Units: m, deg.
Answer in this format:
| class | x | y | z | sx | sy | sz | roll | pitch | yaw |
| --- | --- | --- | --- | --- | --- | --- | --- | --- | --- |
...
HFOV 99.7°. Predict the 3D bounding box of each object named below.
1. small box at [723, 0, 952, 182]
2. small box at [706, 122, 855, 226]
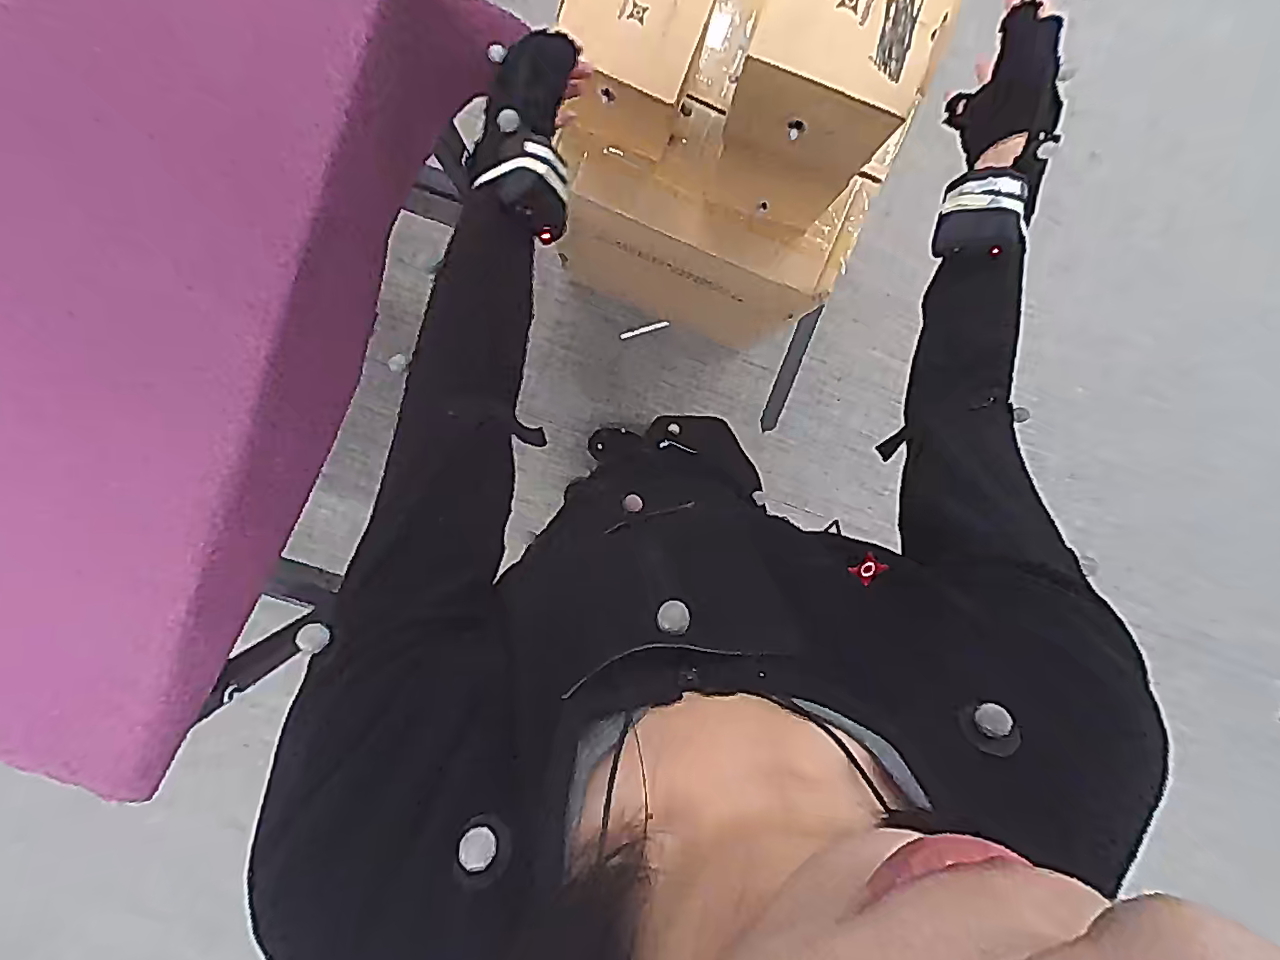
| class | x | y | z | sx | sy | sz | roll | pitch | yaw |
| --- | --- | --- | --- | --- | --- | --- | --- | --- | --- |
| small box | 0.211 | -0.472 | 0.611 | 0.179 | 0.176 | 0.168 | 20 | 94 | -2 |
| small box | 0.209 | -0.489 | 0.775 | 0.179 | 0.176 | 0.168 | 15 | 95 | -3 |
